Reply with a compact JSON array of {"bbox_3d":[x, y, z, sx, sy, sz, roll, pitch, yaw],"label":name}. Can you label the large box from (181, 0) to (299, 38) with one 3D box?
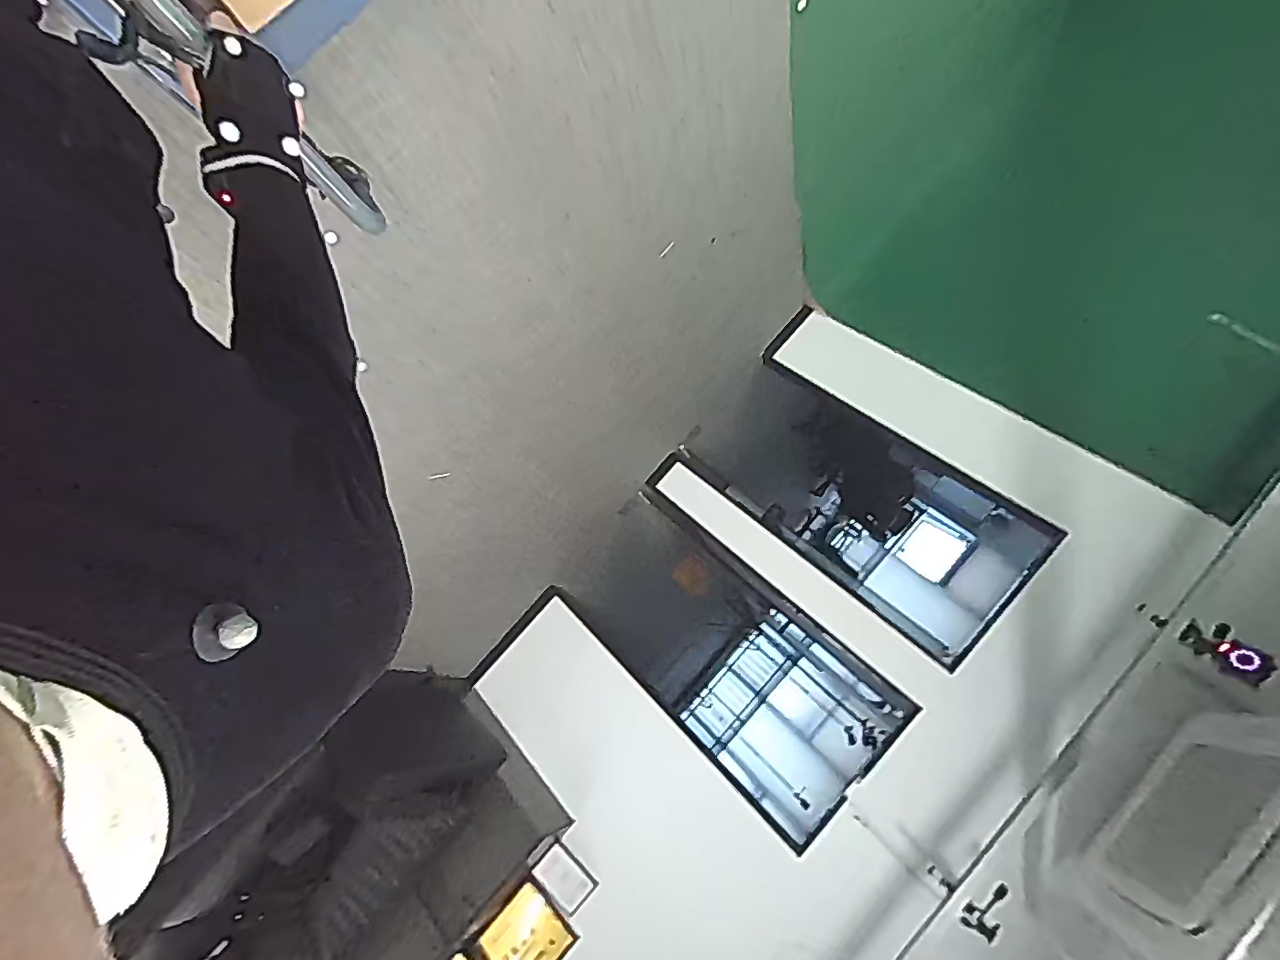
[{"bbox_3d":[-0.596,-0.938,0.757,0.408,0.320,0.320,-48,154,-6],"label":"large box"}]
